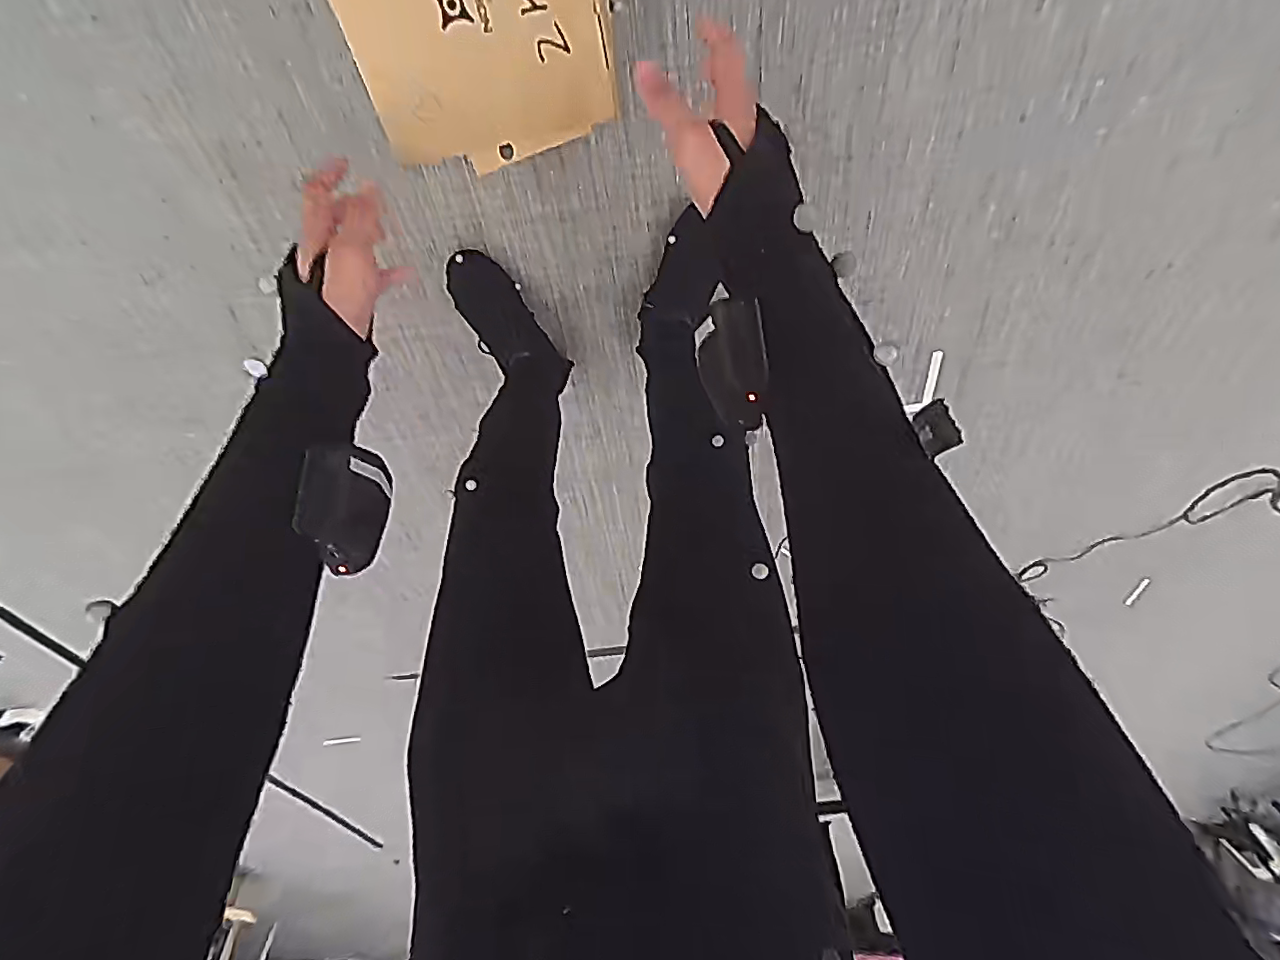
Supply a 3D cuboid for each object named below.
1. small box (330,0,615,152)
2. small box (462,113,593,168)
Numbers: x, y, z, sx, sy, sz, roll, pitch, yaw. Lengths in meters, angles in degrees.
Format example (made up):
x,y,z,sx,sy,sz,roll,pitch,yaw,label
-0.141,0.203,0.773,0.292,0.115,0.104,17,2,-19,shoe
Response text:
x,y,z,sx,sy,sz,roll,pitch,yaw,label
-0.119,-0.371,0.410,0.179,0.176,0.168,-10,131,5,small box
-0.167,-0.539,0.696,0.168,0.176,0.179,-15,131,10,small box
